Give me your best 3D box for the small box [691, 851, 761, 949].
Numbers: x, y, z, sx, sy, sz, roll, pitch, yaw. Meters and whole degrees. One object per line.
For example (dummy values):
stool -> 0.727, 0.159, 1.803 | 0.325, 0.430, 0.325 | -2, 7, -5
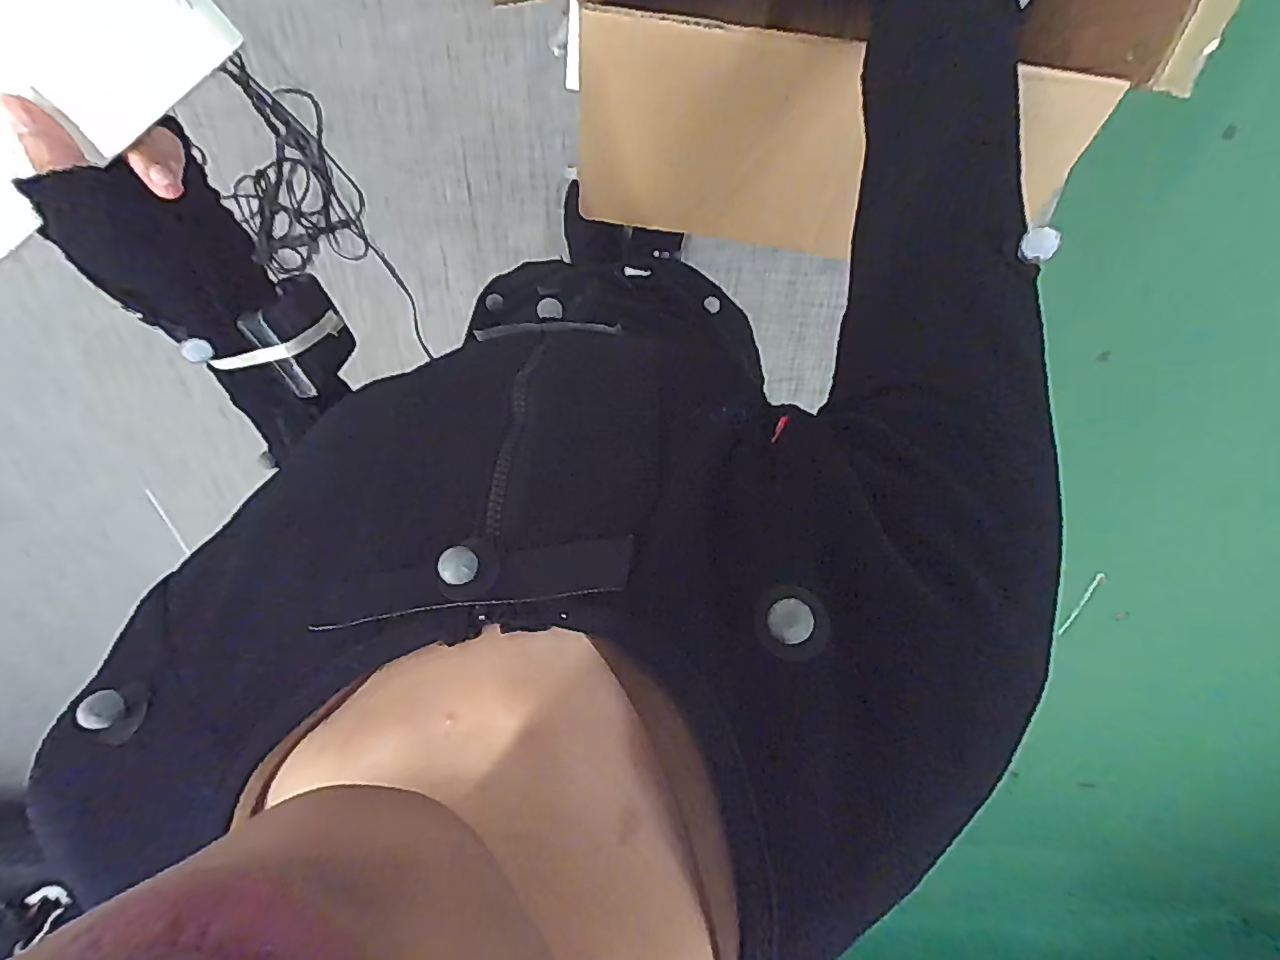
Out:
small box -> 0.227, 1.132, 1.460 | 0.168, 0.176, 0.179 | -3, 124, 3
